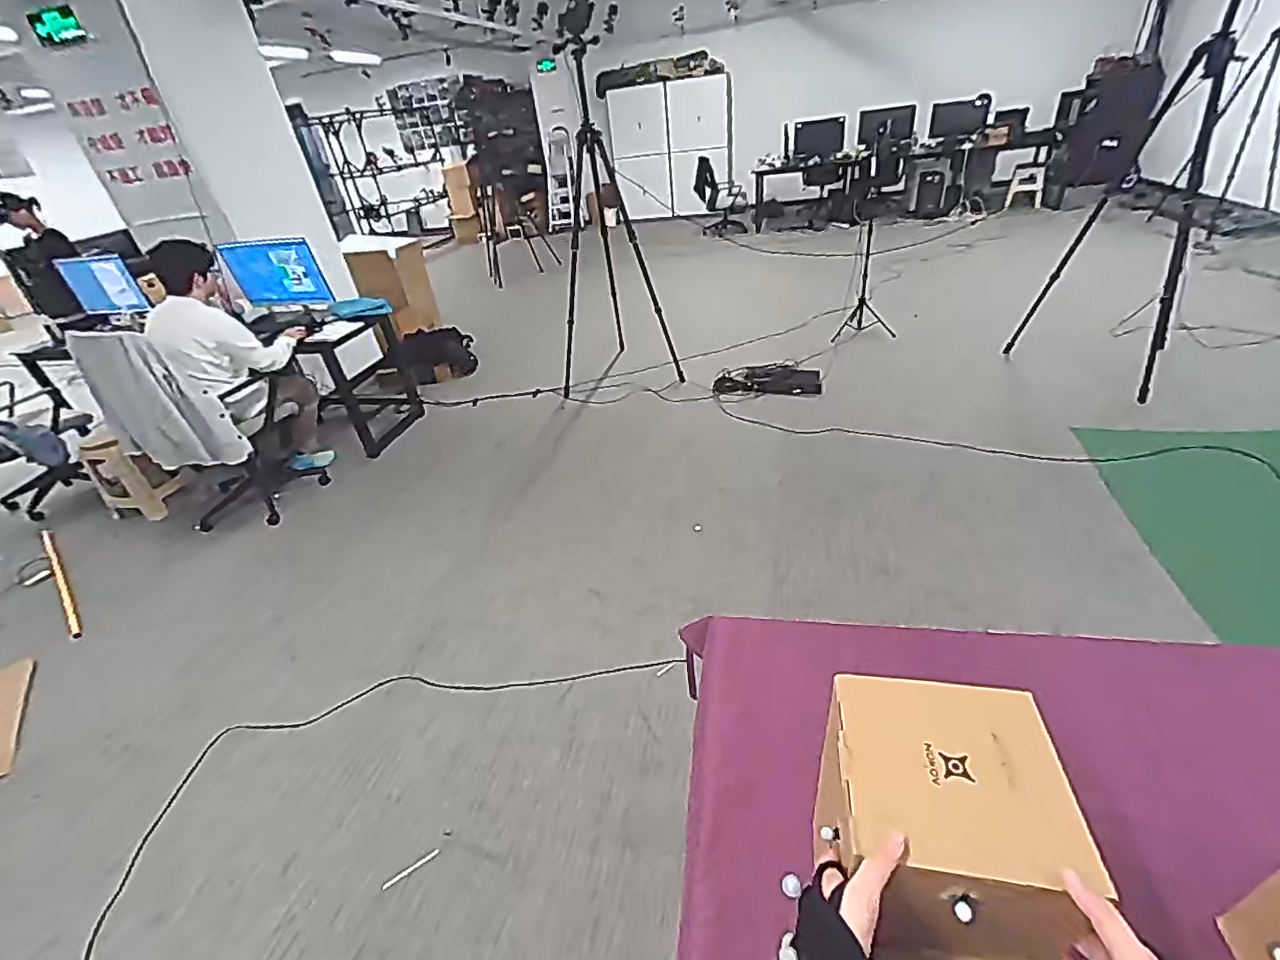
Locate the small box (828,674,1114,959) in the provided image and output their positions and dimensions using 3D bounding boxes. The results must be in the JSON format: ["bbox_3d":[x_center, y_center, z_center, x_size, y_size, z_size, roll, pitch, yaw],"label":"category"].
[{"bbox_3d":[0.271,0.307,0.500,0.179,0.176,0.168,1,36,13],"label":"small box"}]

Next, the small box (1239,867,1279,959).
[{"bbox_3d":[0.695,0.466,0.469,0.179,0.176,0.168,1,35,13],"label":"small box"}]

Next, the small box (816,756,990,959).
[{"bbox_3d":[0.286,0.441,0.592,0.168,0.176,0.179,2,35,14],"label":"small box"}]
